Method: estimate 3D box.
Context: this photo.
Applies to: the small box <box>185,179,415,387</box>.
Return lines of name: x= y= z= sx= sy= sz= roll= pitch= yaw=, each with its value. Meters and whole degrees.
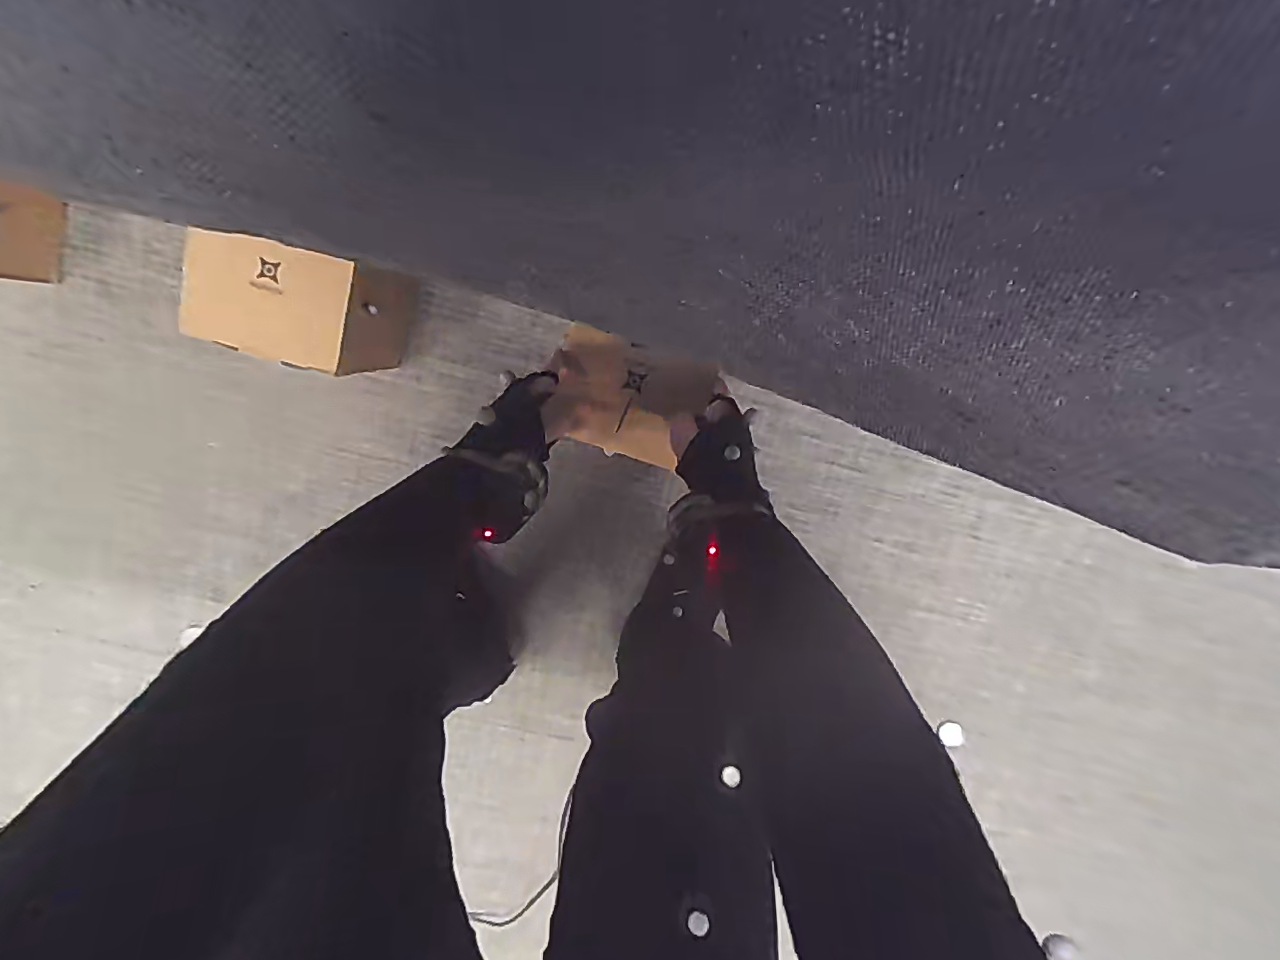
small box: x=-0.391 y=-0.221 z=0.649 sx=0.168 sy=0.176 sz=0.179 roll=15 pitch=101 yaw=-5
